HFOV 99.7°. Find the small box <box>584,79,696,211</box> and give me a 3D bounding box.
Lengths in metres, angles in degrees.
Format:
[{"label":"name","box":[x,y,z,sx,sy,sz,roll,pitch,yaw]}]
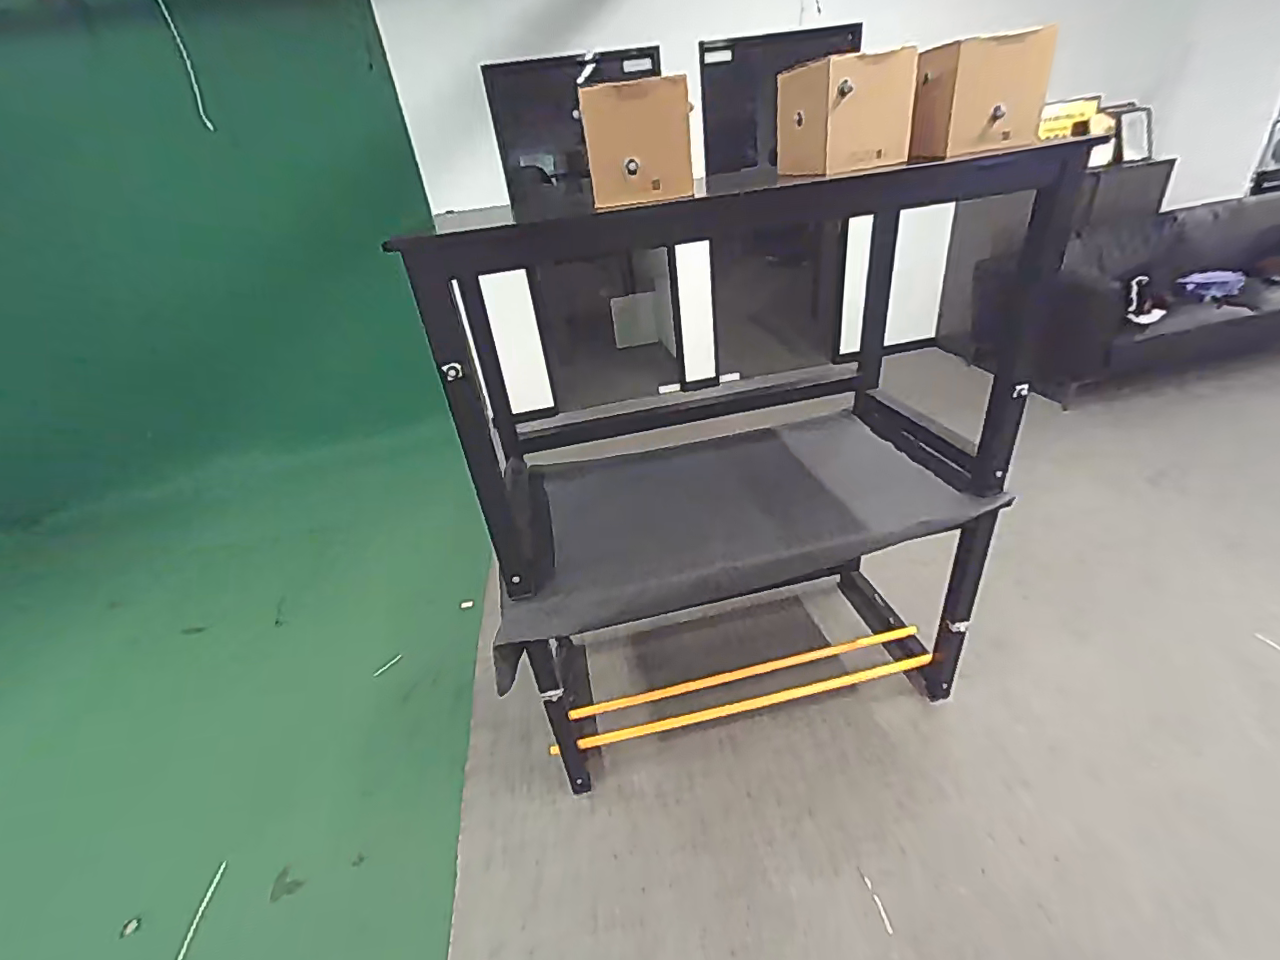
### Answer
[{"label":"small box","box":[0.001,-0.561,0.920,0.168,0.176,0.179,-6,31,1]}]
